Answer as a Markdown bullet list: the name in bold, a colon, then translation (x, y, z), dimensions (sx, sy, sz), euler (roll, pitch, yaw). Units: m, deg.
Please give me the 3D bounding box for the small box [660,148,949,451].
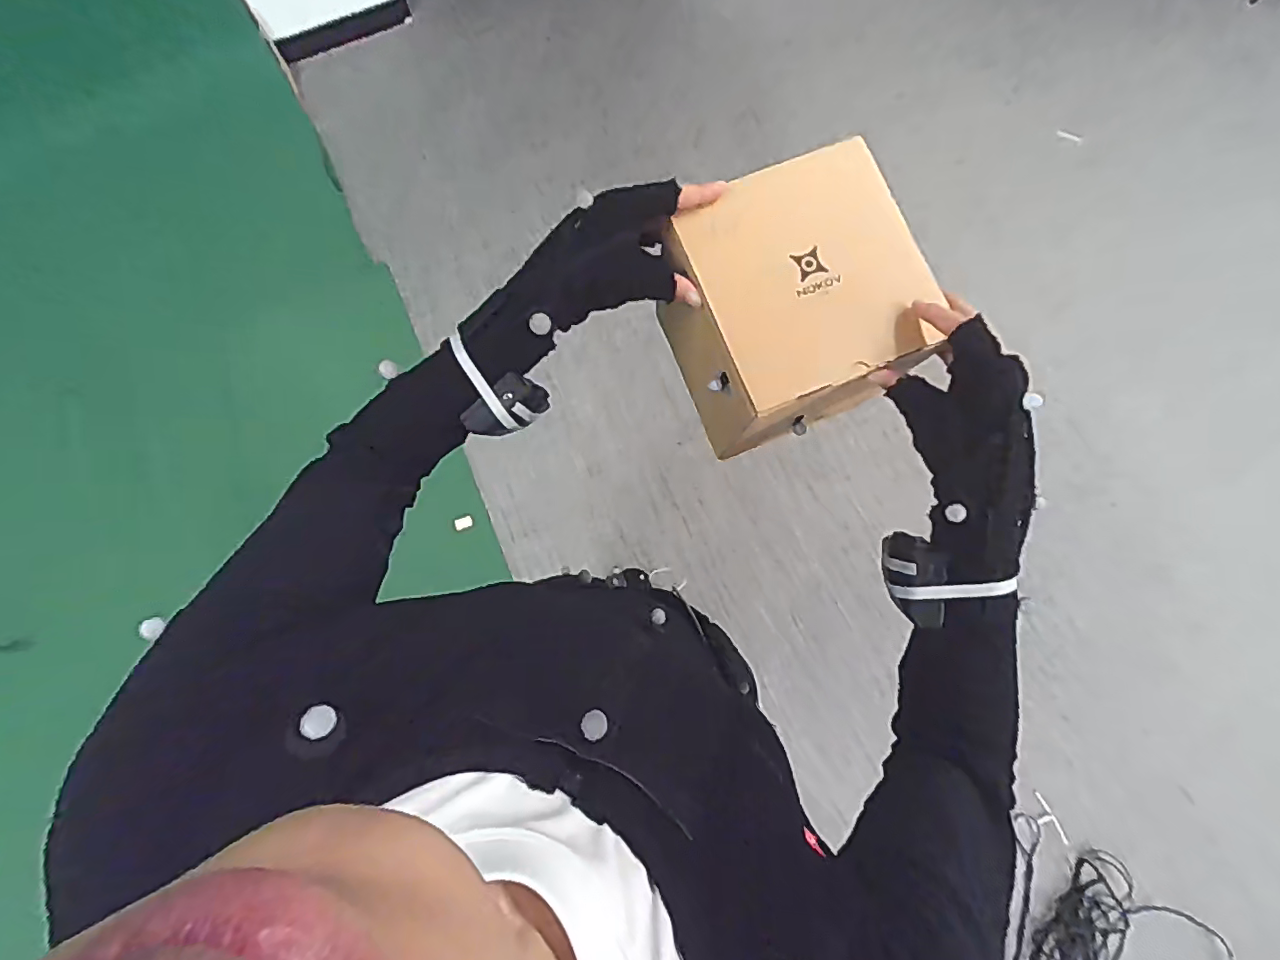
- **small box**: translation (0.124, -0.145, 0.488), dimensions (0.168, 0.176, 0.179), euler (-21, 84, -5)
